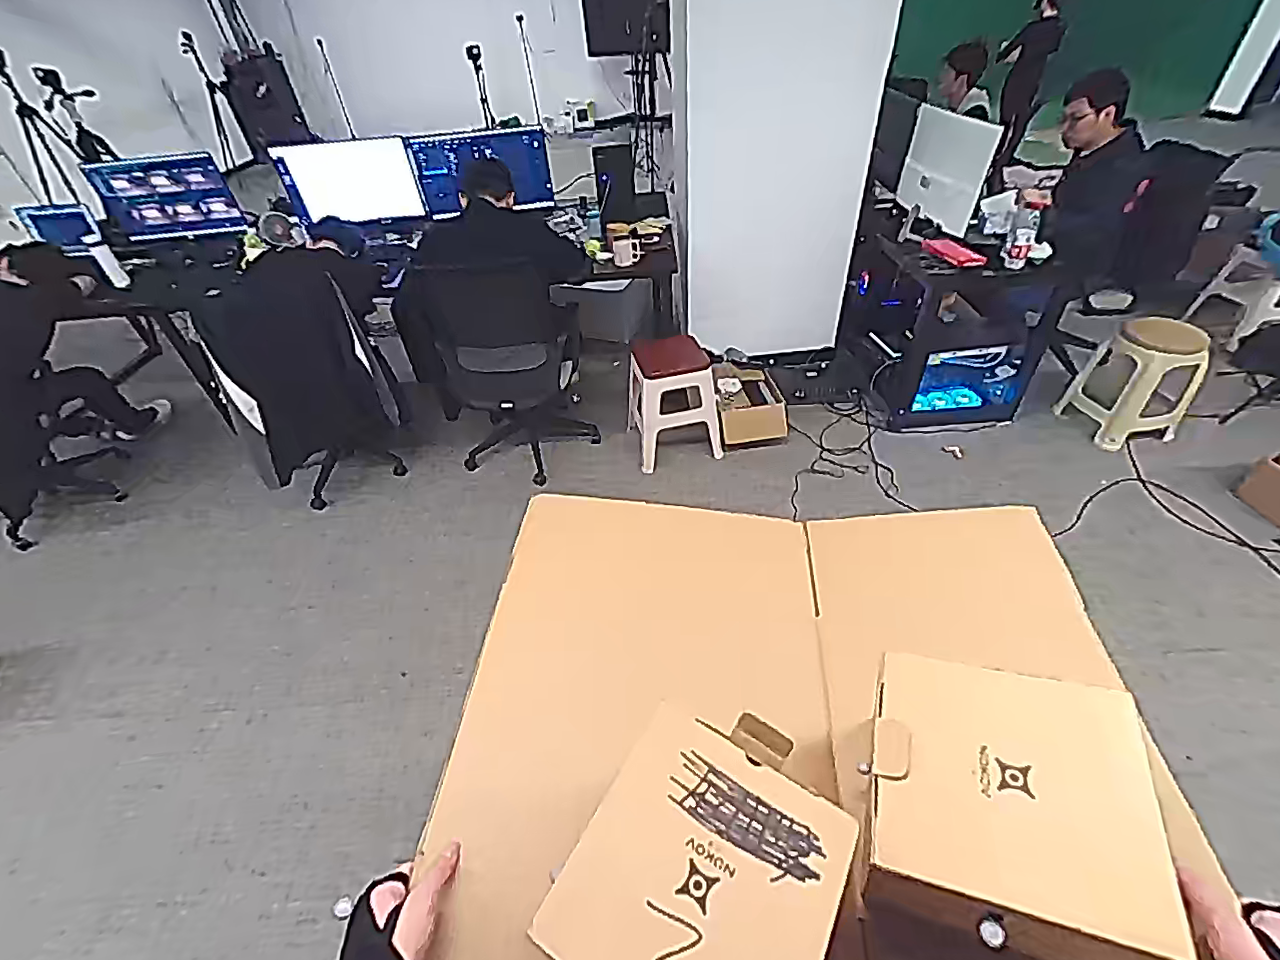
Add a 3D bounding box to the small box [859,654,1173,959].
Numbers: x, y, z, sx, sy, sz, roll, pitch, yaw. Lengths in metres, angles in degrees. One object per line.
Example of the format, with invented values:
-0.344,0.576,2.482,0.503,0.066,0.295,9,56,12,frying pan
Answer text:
0.289,0.276,0.461,0.179,0.176,0.168,3,49,24,small box
